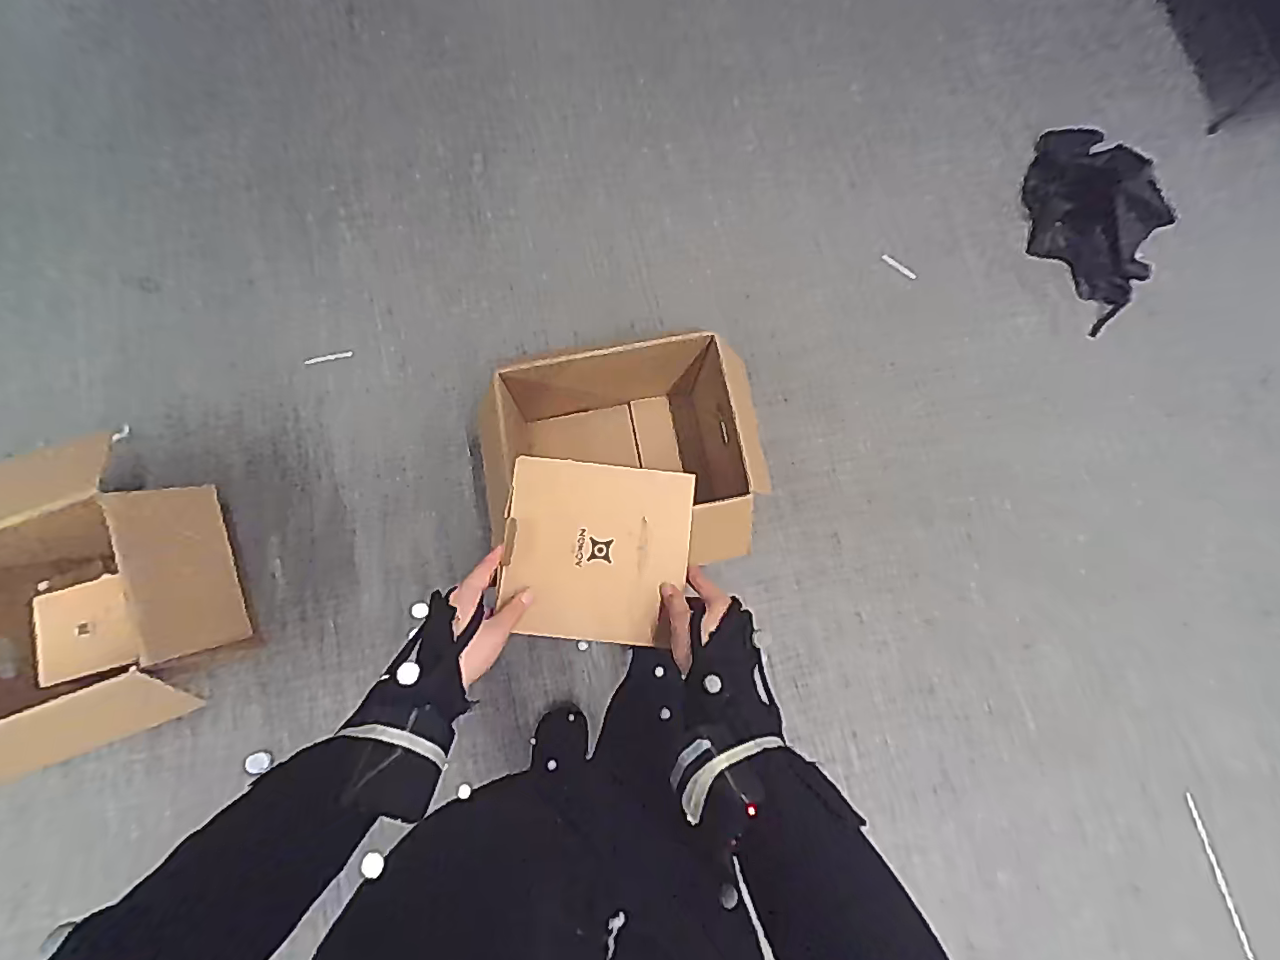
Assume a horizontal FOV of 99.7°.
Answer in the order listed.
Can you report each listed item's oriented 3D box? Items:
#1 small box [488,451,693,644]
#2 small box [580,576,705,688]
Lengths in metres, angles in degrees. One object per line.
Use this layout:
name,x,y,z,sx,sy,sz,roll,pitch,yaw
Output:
small box,-0.048,0.075,0.580,0.179,0.176,0.168,6,81,-3
small box,0.006,0.276,1.059,0.179,0.168,0.176,29,116,-14
